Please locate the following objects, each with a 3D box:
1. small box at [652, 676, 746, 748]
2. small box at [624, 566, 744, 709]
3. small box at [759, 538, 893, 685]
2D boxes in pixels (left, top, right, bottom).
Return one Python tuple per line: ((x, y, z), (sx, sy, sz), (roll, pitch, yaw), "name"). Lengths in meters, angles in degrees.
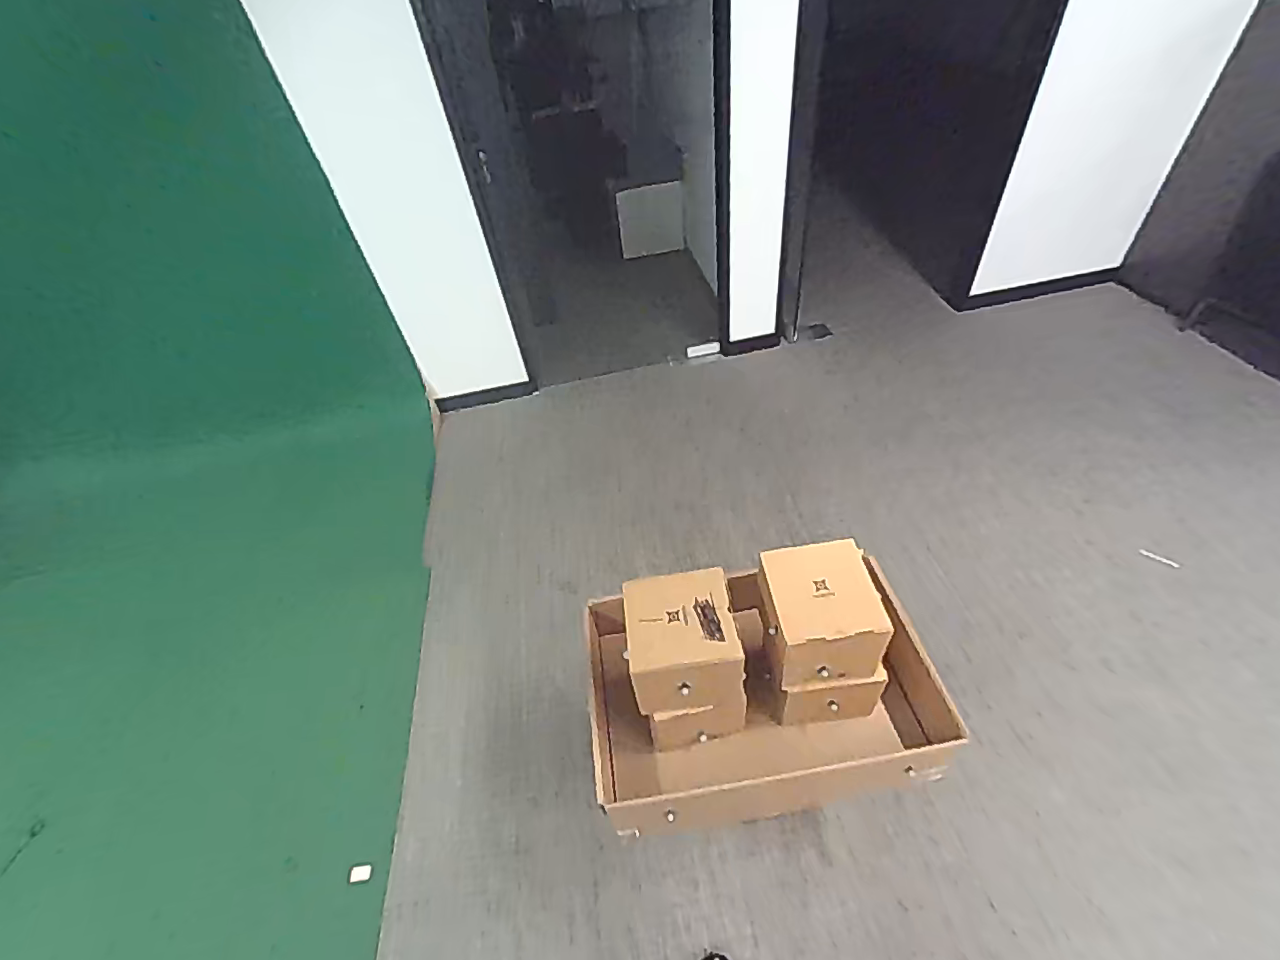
((0.095, 0.382, 1.037), (0.168, 0.176, 0.179), (-13, 46, -4), "small box")
((0.072, 0.270, 0.920), (0.179, 0.176, 0.168), (-8, 45, 1), "small box")
((0.305, 0.226, 0.930), (0.168, 0.176, 0.179), (-9, 45, 2), "small box")
